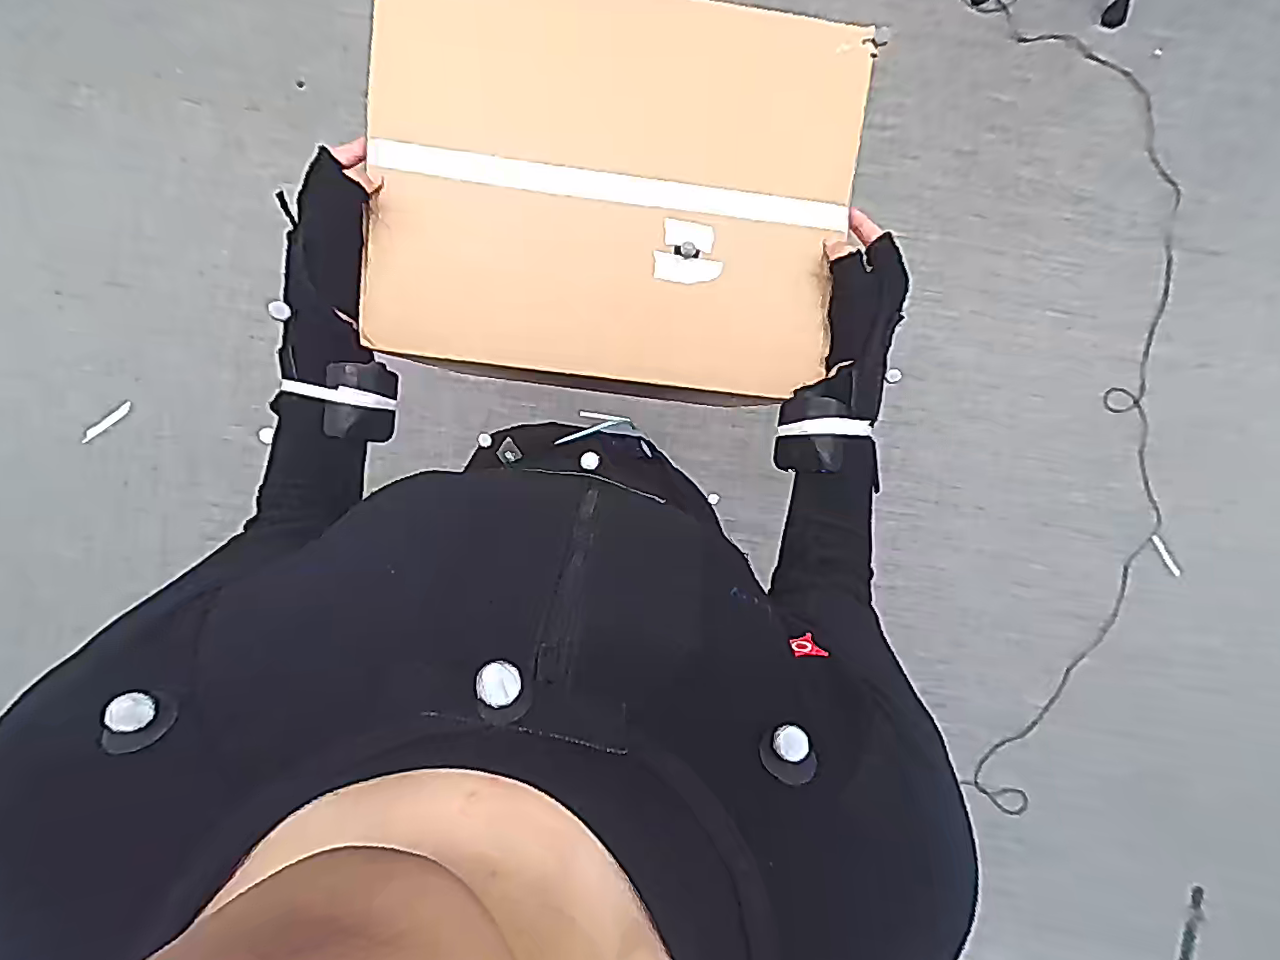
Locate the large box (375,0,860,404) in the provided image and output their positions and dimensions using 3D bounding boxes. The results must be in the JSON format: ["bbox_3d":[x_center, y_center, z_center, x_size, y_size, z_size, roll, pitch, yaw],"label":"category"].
[{"bbox_3d":[-0.033,-0.262,0.615,0.408,0.320,0.320,6,98,-5],"label":"large box"}]
